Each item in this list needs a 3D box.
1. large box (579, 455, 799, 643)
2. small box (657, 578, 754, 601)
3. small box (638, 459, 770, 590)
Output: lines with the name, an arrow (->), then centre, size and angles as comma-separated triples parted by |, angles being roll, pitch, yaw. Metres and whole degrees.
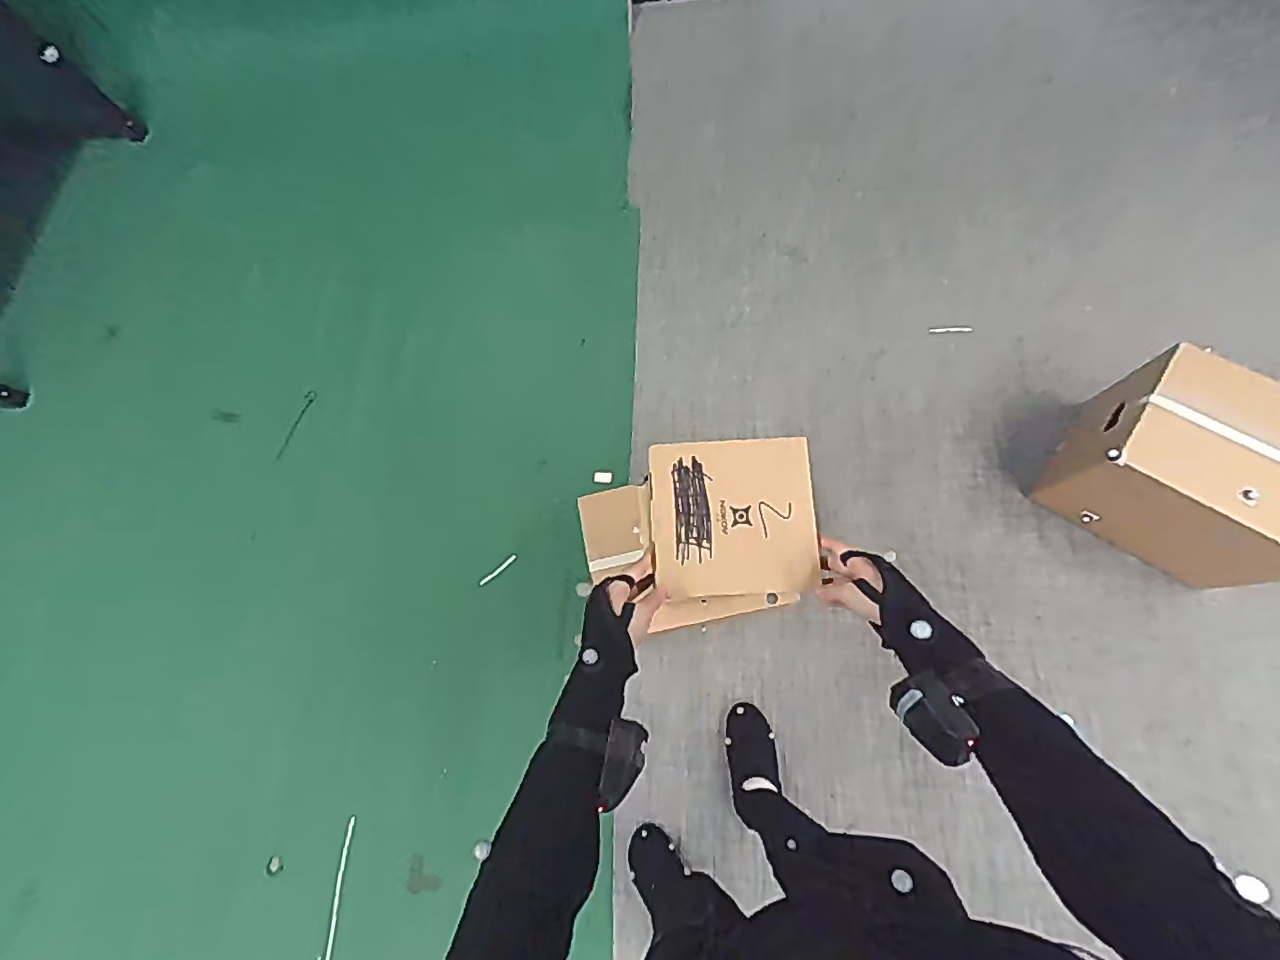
large box -> 0.110, 0.176, 1.251 | 0.408, 0.320, 0.320 | -14, 71, 4
small box -> 0.113, 0.130, 1.006 | 0.168, 0.176, 0.179 | -8, 73, 4
small box -> 0.098, 0.078, 0.853 | 0.179, 0.176, 0.168 | -7, 73, 4
